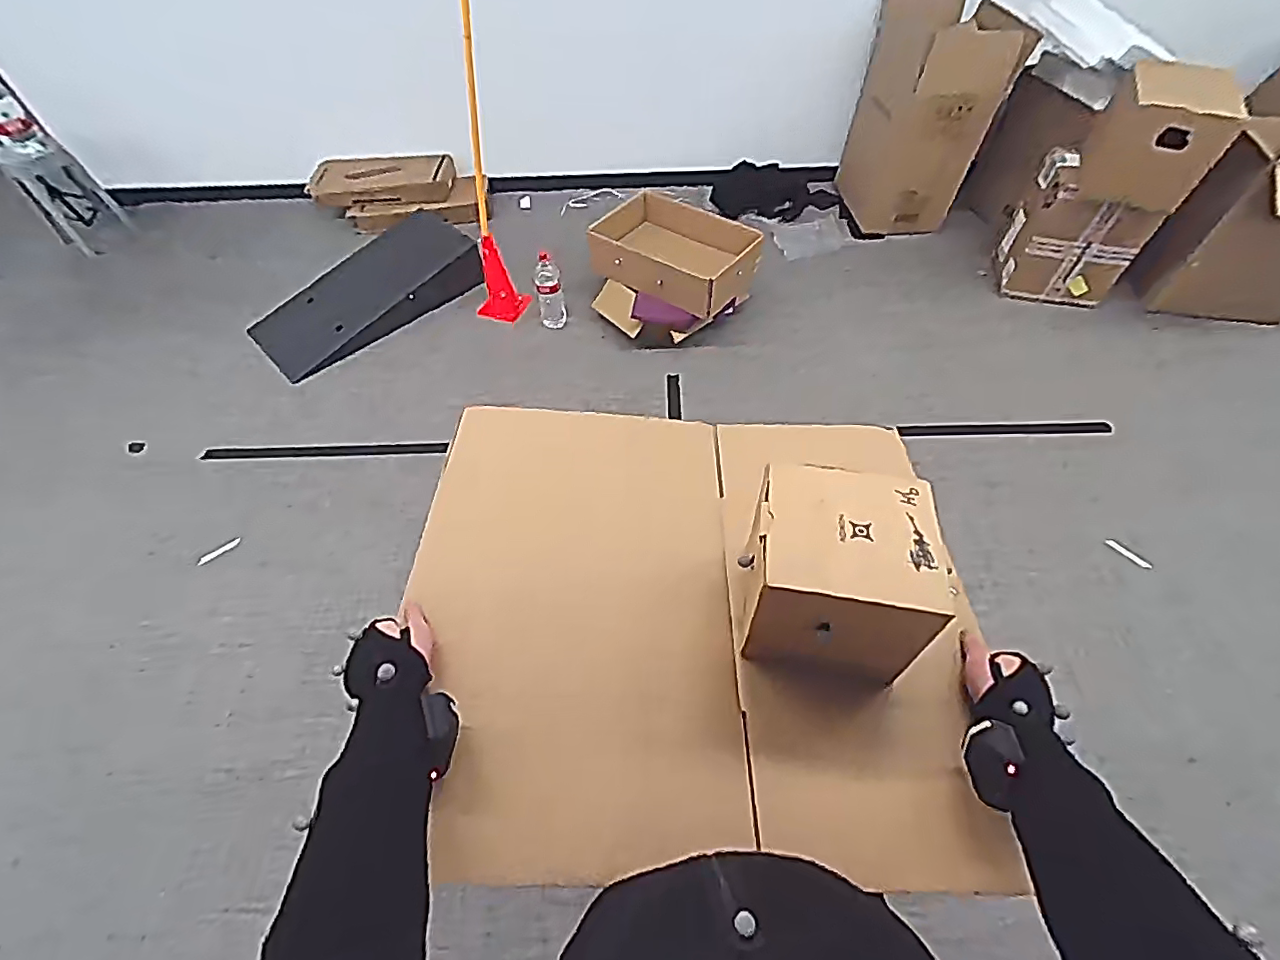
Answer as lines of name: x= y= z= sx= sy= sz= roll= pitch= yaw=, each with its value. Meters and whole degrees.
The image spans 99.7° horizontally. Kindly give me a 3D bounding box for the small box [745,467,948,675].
small box: x=0.219 y=0.107 z=0.622 sx=0.179 sy=0.176 sz=0.168 roll=7 pitch=51 yaw=8
